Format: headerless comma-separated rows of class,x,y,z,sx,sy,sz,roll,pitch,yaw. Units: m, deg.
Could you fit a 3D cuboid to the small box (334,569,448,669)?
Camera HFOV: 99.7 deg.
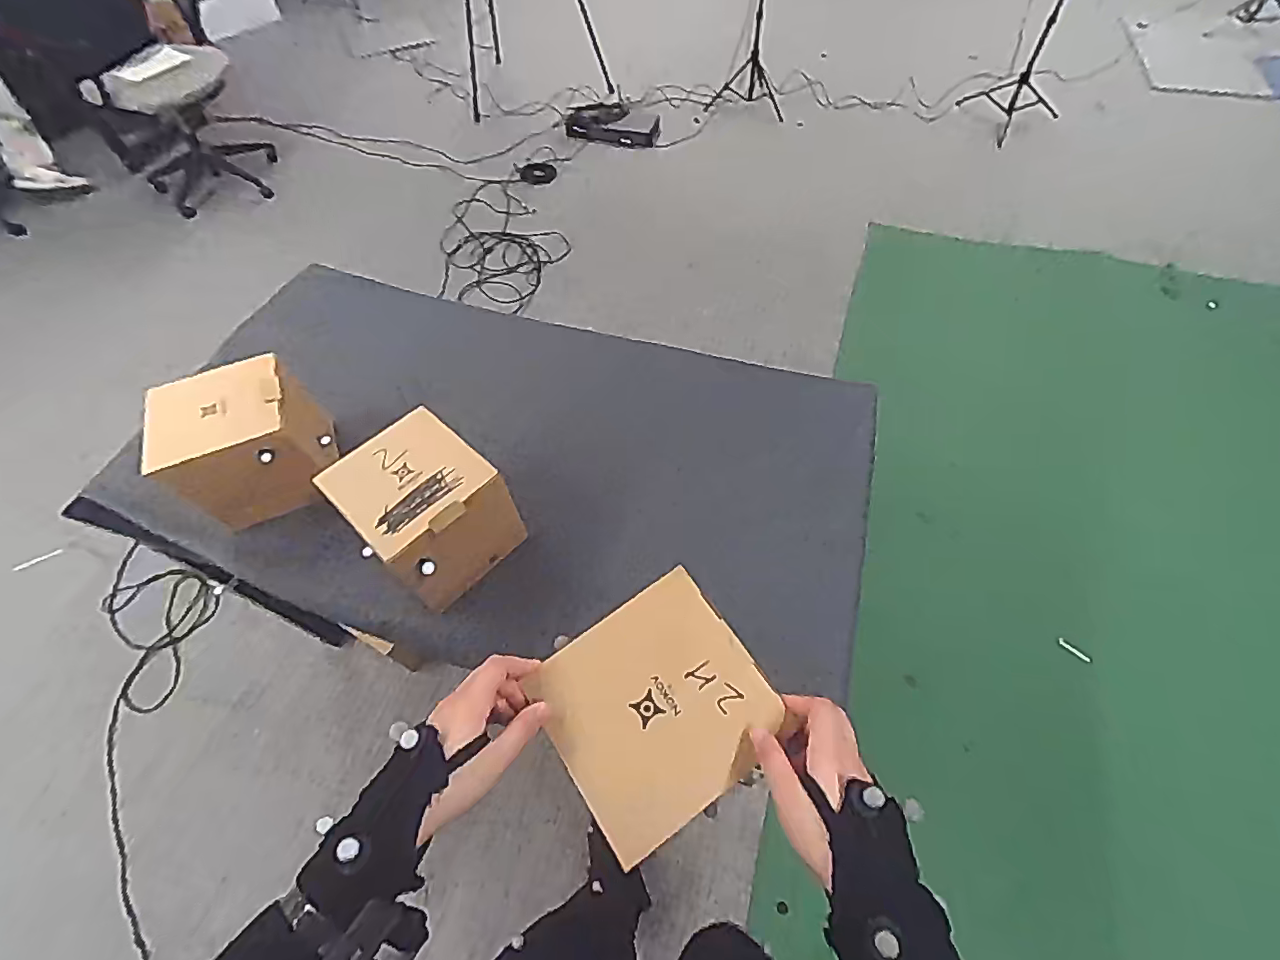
small box,-0.637,0.365,1.404,0.179,0.176,0.168,24,62,18

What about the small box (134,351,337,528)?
small box,-0.589,-0.055,0.806,0.179,0.176,0.168,-22,59,-12

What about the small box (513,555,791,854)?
small box,0.011,0.203,0.514,0.179,0.176,0.168,-33,70,-11

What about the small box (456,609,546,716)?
small box,-0.310,0.455,1.330,0.179,0.176,0.168,31,63,22
